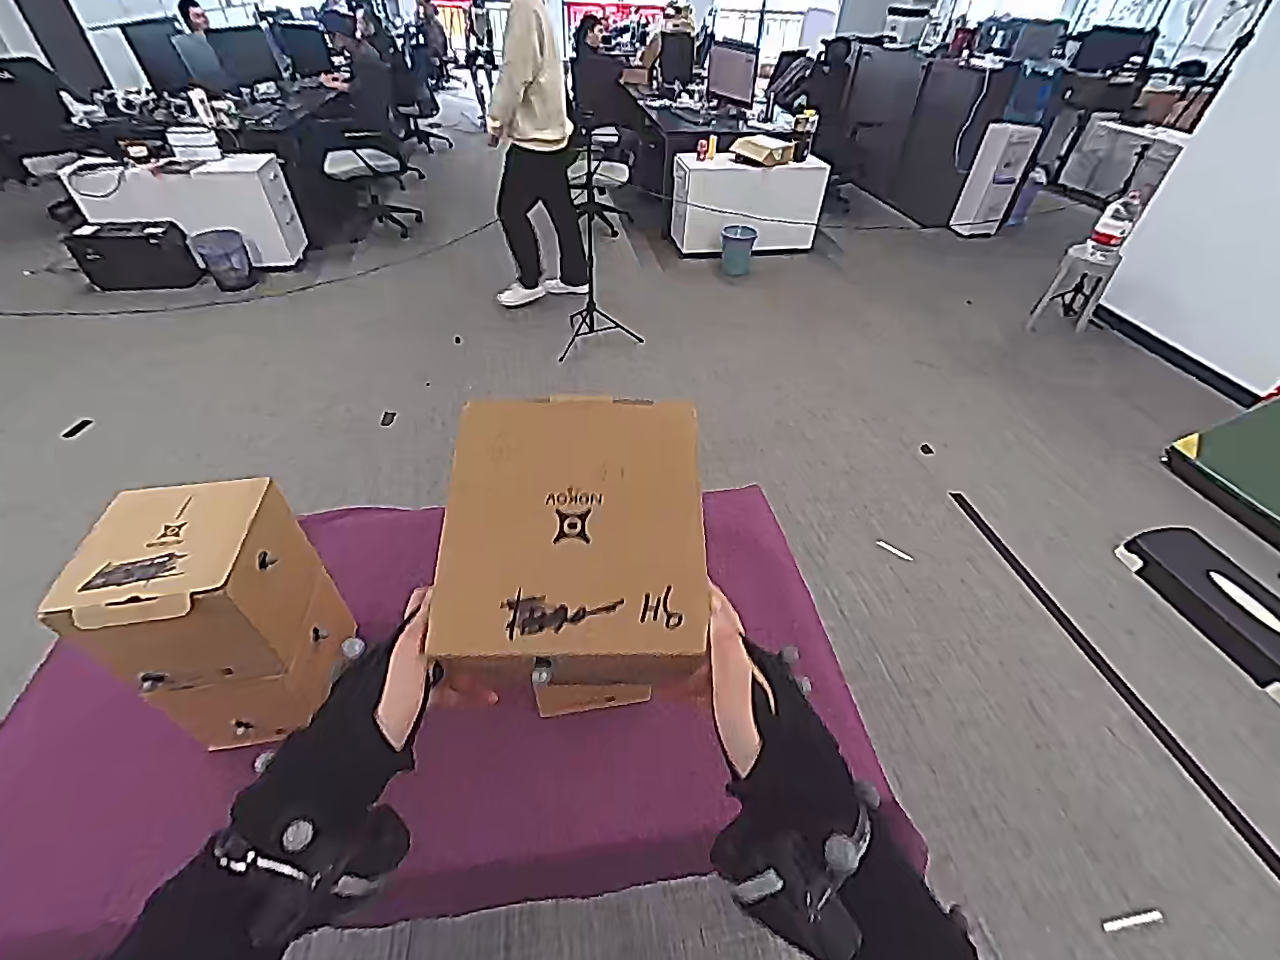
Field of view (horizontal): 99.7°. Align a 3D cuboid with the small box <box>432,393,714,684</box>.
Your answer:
[{"bbox_3d":[-0.039,0.053,0.418,0.168,0.176,0.179,1,63,-1],"label":"small box"}]

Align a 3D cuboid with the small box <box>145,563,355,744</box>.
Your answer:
[{"bbox_3d":[-0.522,0.242,0.761,0.168,0.176,0.179,-5,44,-9],"label":"small box"}]

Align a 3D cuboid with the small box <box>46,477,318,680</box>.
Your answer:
[{"bbox_3d":[-0.516,0.122,0.649,0.168,0.176,0.179,-6,44,-10],"label":"small box"}]

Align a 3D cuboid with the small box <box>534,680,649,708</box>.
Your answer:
[{"bbox_3d":[-0.075,0.222,0.806,0.168,0.176,0.179,-4,43,-9],"label":"small box"}]
